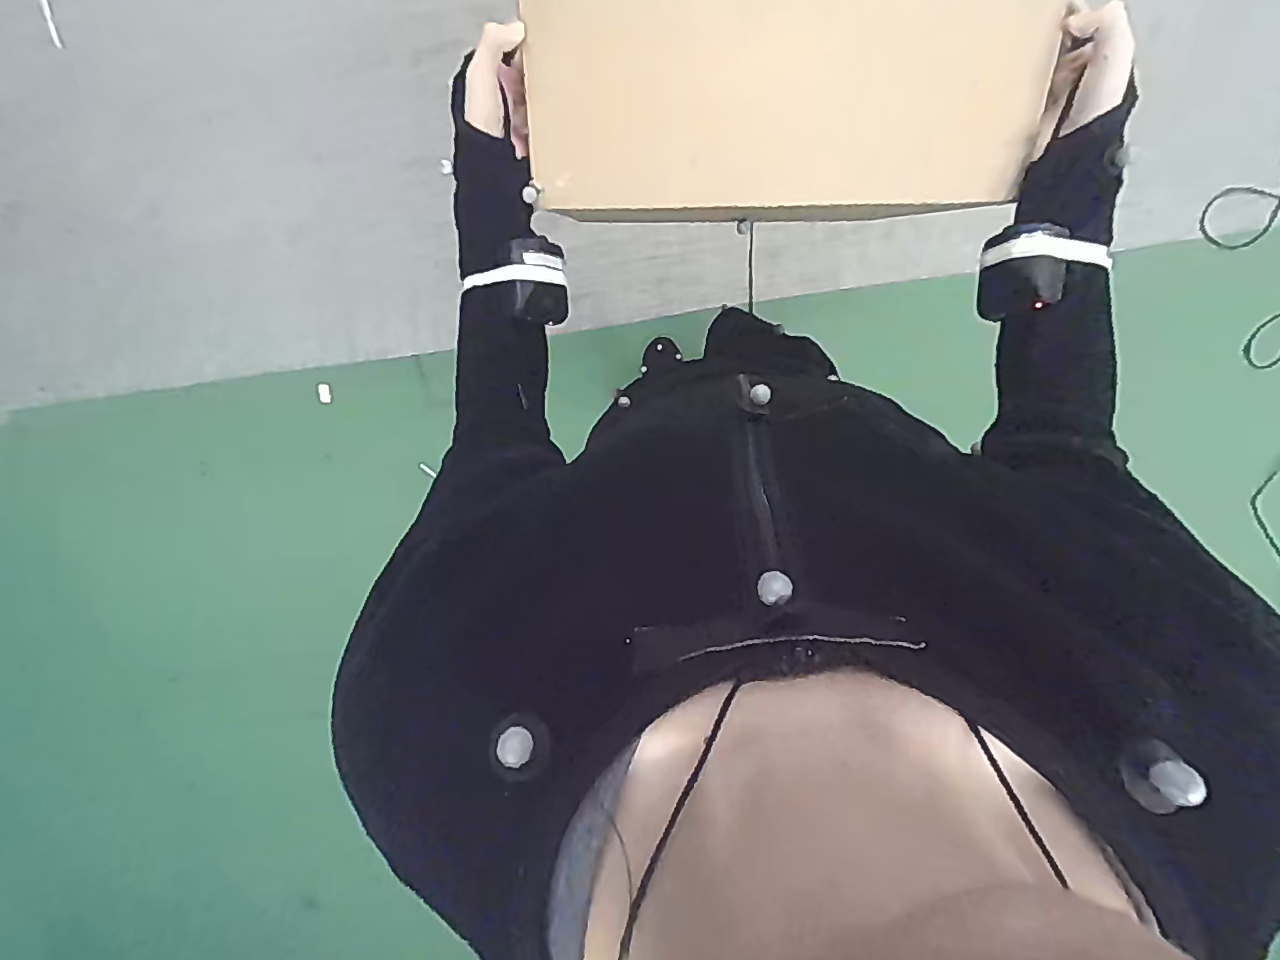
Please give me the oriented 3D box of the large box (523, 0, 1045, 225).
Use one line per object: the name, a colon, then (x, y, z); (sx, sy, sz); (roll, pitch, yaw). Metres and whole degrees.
large box: (0.113, -0.436, 0.541); (0.408, 0.320, 0.320); (0, 112, 2)
